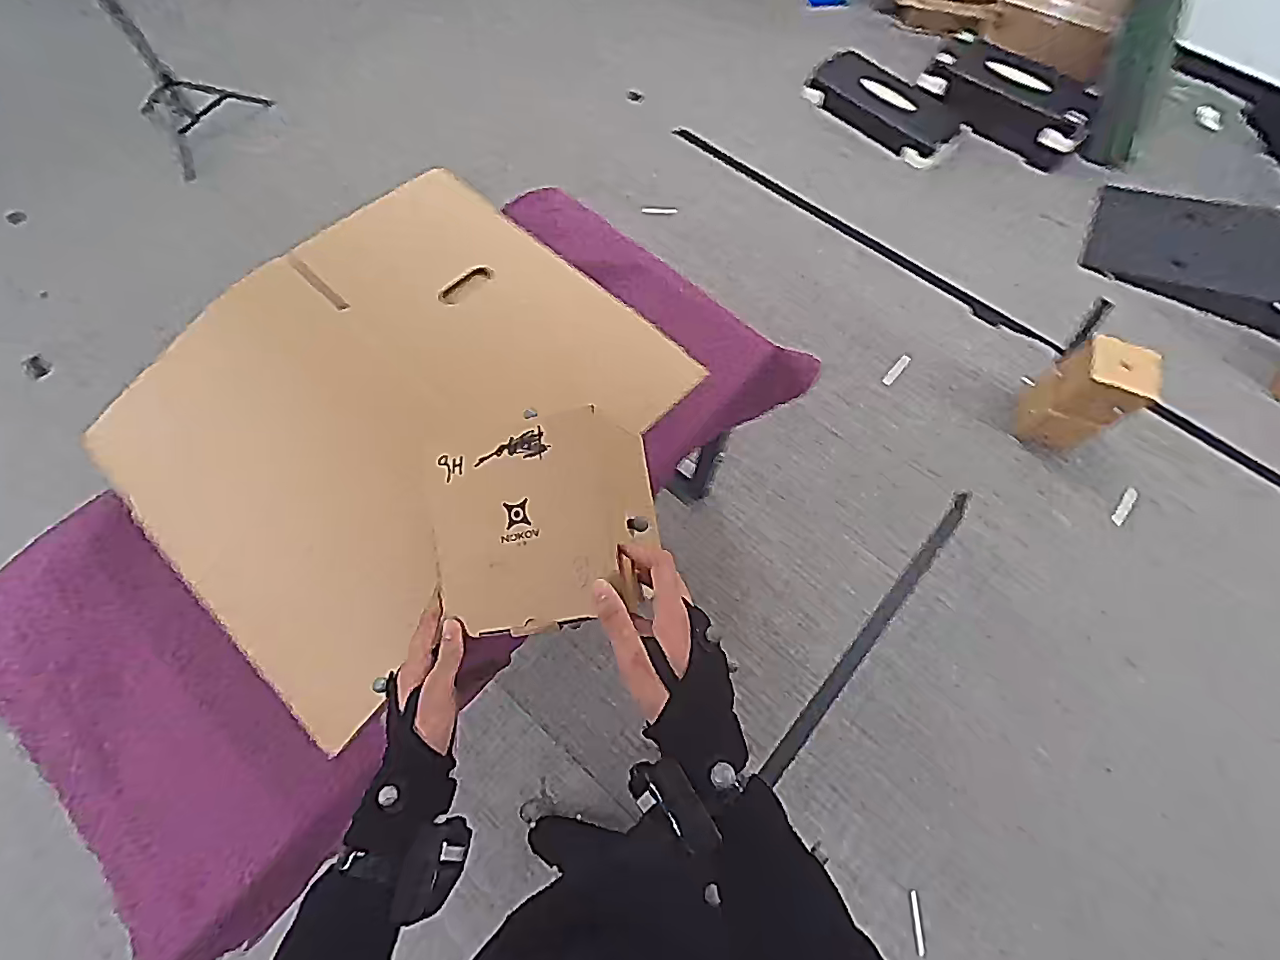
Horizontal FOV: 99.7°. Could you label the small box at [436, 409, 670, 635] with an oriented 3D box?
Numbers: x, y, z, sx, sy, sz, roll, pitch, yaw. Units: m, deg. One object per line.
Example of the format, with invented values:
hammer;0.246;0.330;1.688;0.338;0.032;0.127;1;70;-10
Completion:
small box;-0.073;0.041;0.539;0.168;0.176;0.179;-11;84;13
